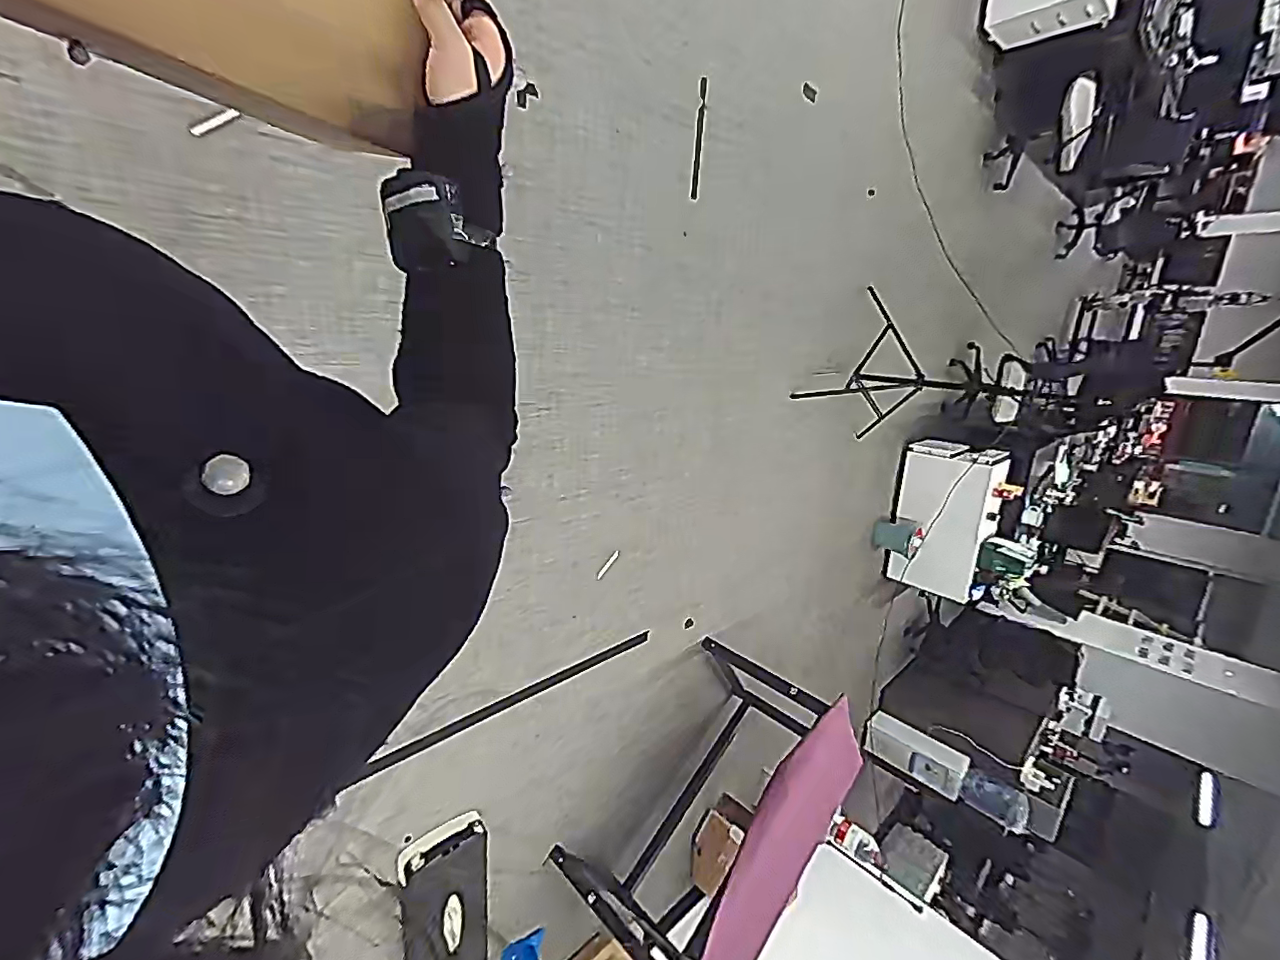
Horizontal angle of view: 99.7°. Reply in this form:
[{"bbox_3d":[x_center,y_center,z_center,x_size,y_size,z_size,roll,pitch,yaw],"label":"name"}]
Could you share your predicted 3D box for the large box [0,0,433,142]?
[{"bbox_3d":[-0.376,-0.478,0.365,0.408,0.320,0.320,2,113,-42],"label":"large box"}]
